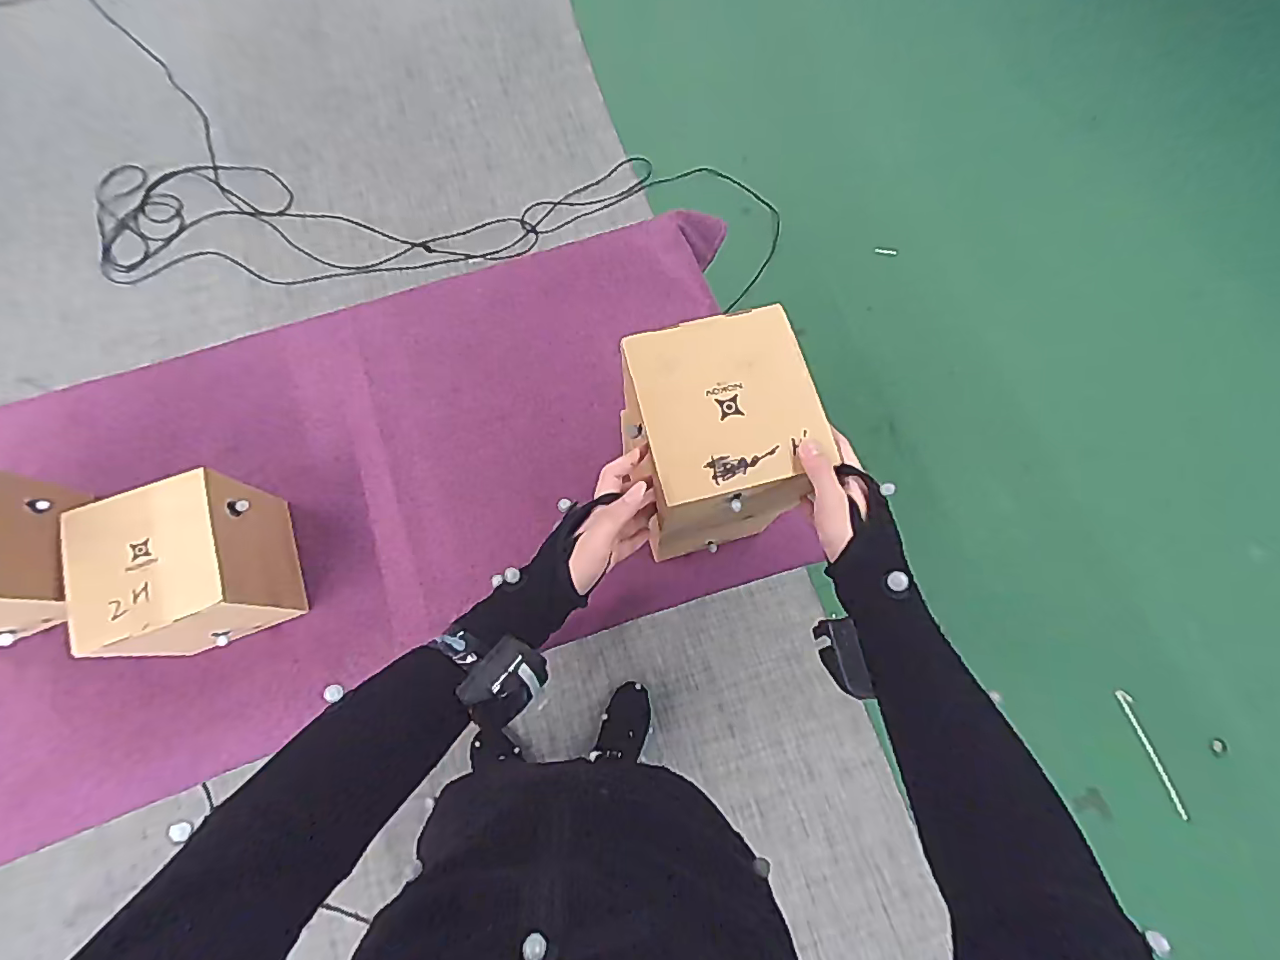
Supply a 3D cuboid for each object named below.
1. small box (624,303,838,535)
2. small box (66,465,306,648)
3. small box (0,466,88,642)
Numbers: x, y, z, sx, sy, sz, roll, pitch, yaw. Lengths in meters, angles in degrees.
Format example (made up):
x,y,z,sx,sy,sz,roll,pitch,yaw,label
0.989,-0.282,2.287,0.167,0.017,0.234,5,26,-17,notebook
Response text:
x,y,z,sx,sy,sz,roll,pitch,yaw,label
0.080,-0.055,0.579,0.168,0.176,0.179,-14,74,-4,small box
-0.571,0.106,0.699,0.168,0.176,0.179,-20,75,-6,small box
-0.851,0.101,0.698,0.168,0.176,0.179,-21,76,-6,small box
